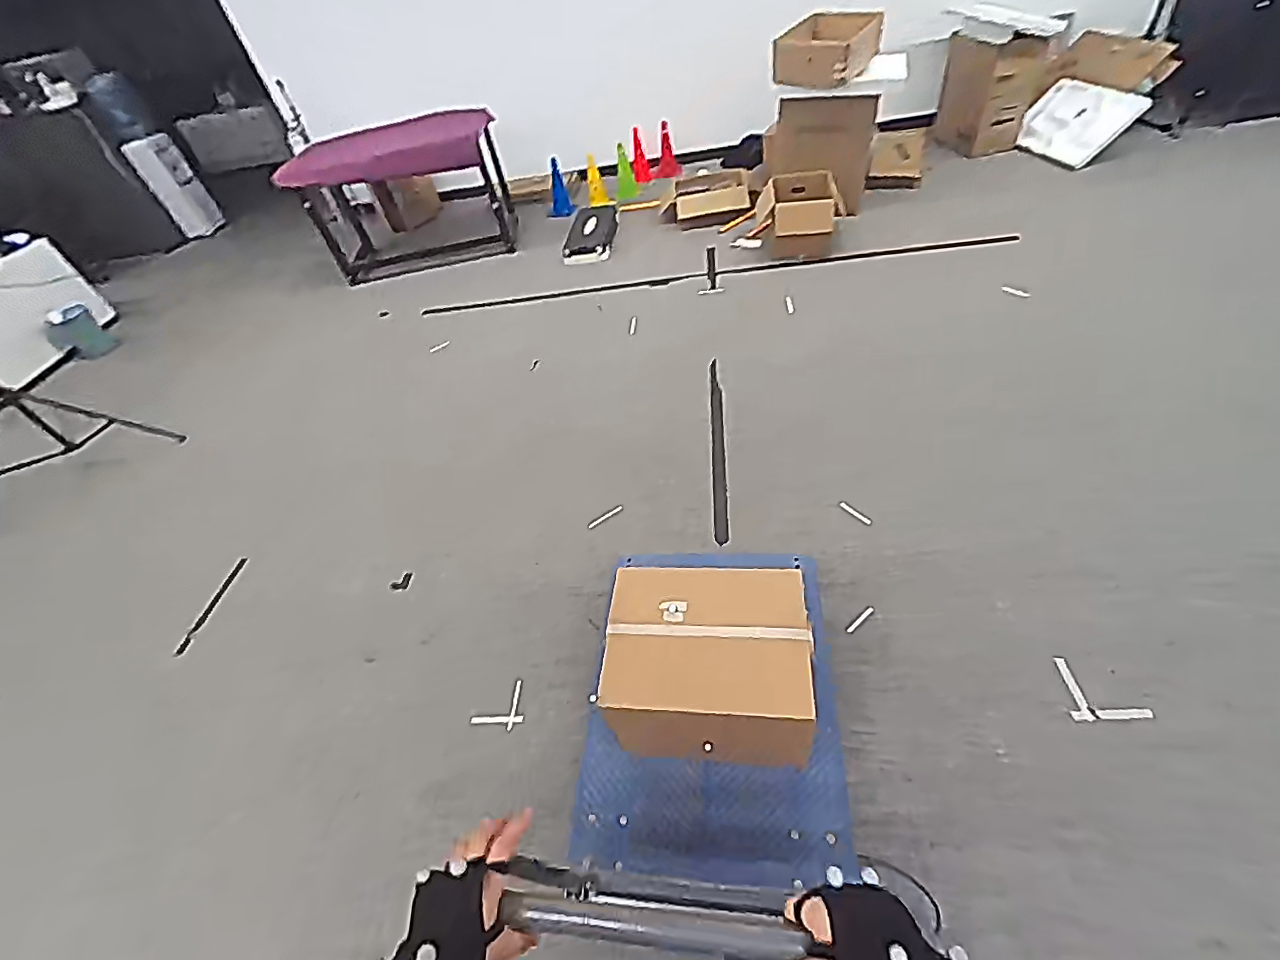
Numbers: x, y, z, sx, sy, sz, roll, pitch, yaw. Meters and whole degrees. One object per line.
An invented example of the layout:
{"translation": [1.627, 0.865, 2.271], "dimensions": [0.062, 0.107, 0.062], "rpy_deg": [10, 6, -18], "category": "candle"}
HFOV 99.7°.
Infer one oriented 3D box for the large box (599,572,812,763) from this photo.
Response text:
{"translation": [0.156, 0.424, 1.217], "dimensions": [0.408, 0.320, 0.320], "rpy_deg": [-3, 46, 12], "category": "large box"}
